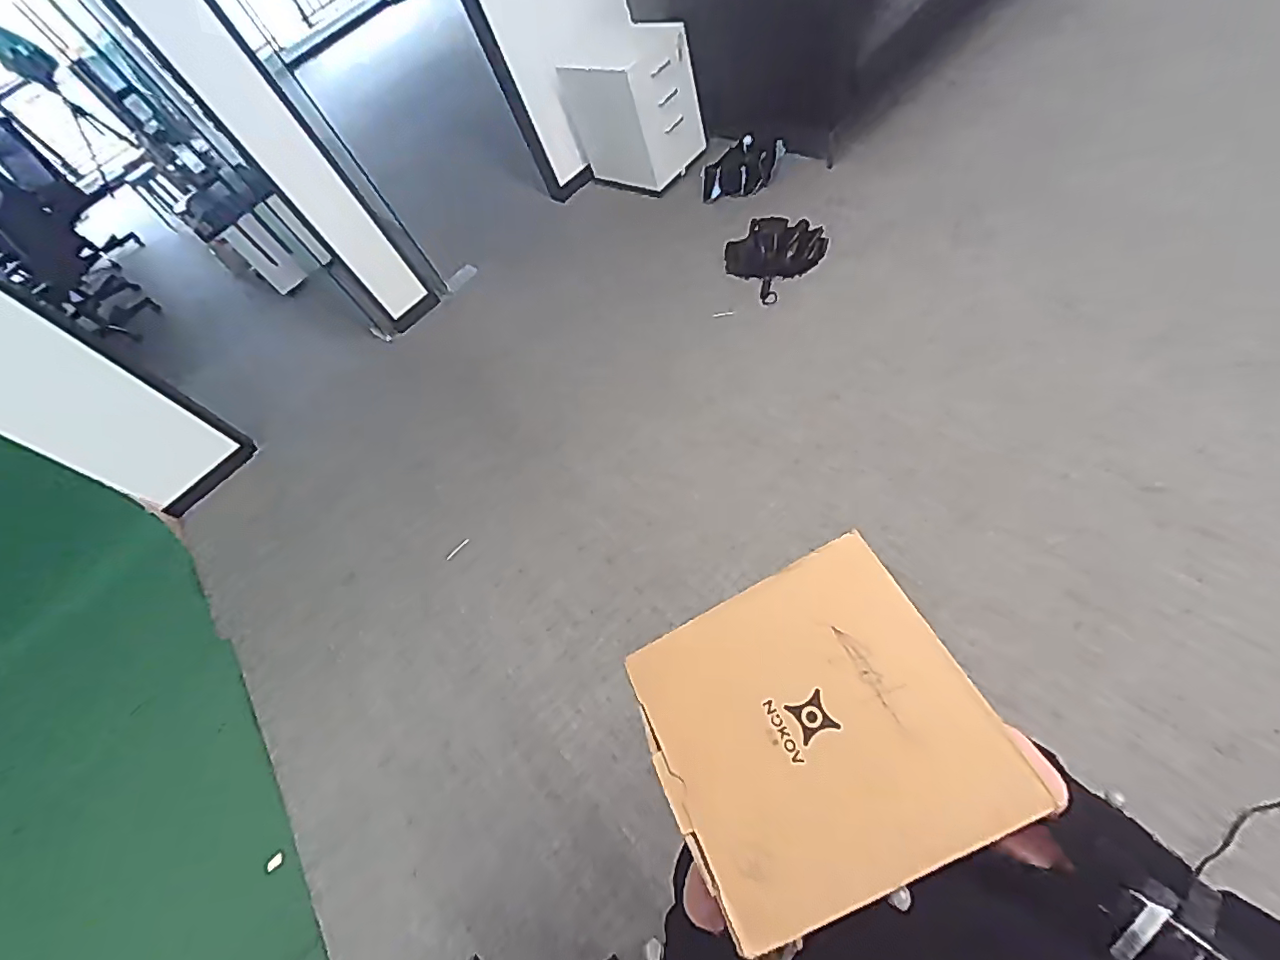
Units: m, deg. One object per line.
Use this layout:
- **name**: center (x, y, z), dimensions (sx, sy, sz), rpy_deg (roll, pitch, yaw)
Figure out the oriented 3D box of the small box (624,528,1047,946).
- **small box**: center (0.120, 0.168, 0.374), dimensions (0.179, 0.176, 0.168), rpy_deg (-31, 58, 4)
